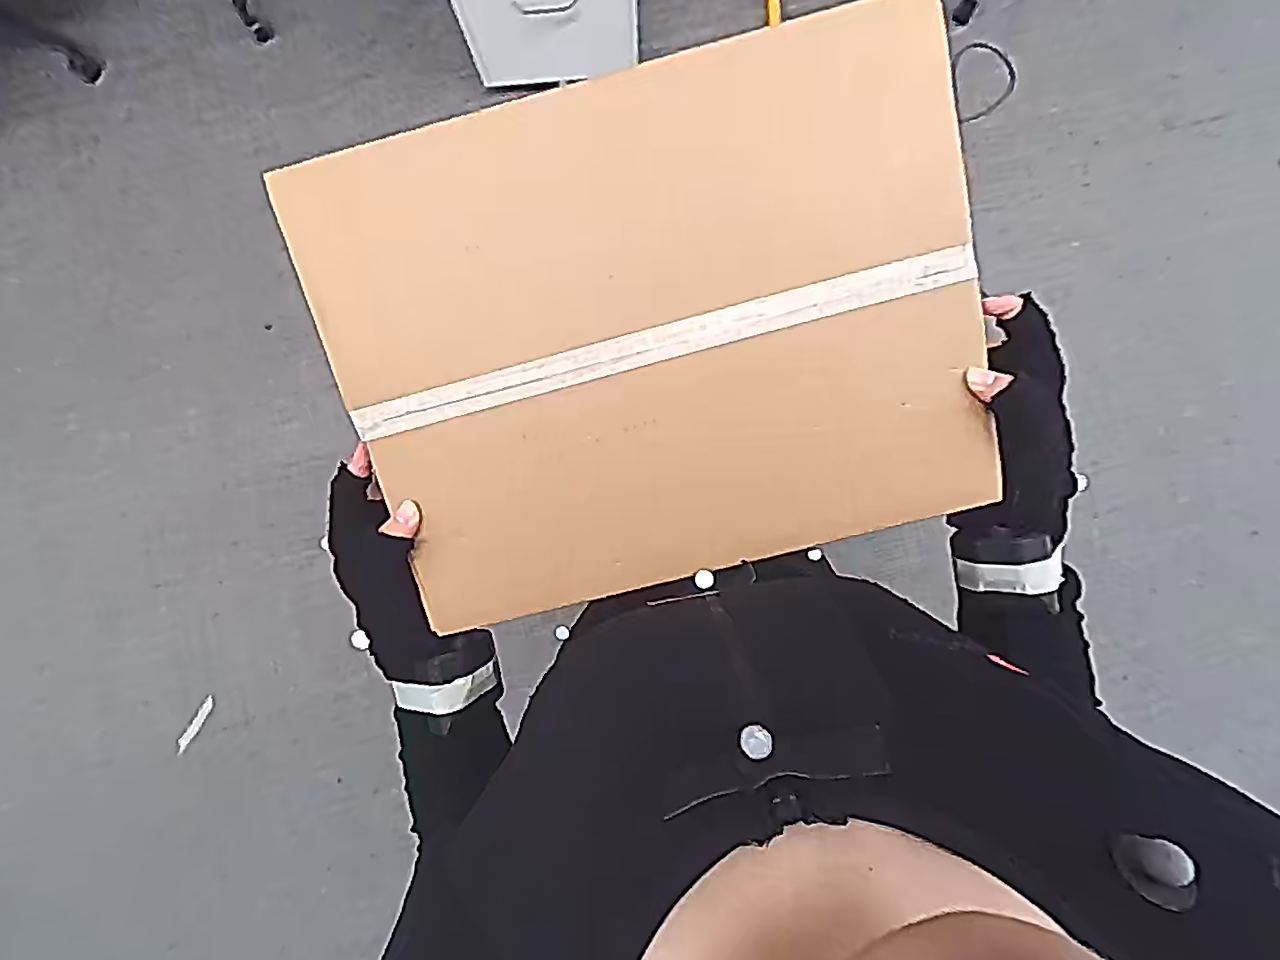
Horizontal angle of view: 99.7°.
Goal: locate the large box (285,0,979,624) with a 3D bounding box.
[{"bbox_3d":[0.004,-0.118,0.501,0.408,0.320,0.320,-15,103,2],"label":"large box"}]
